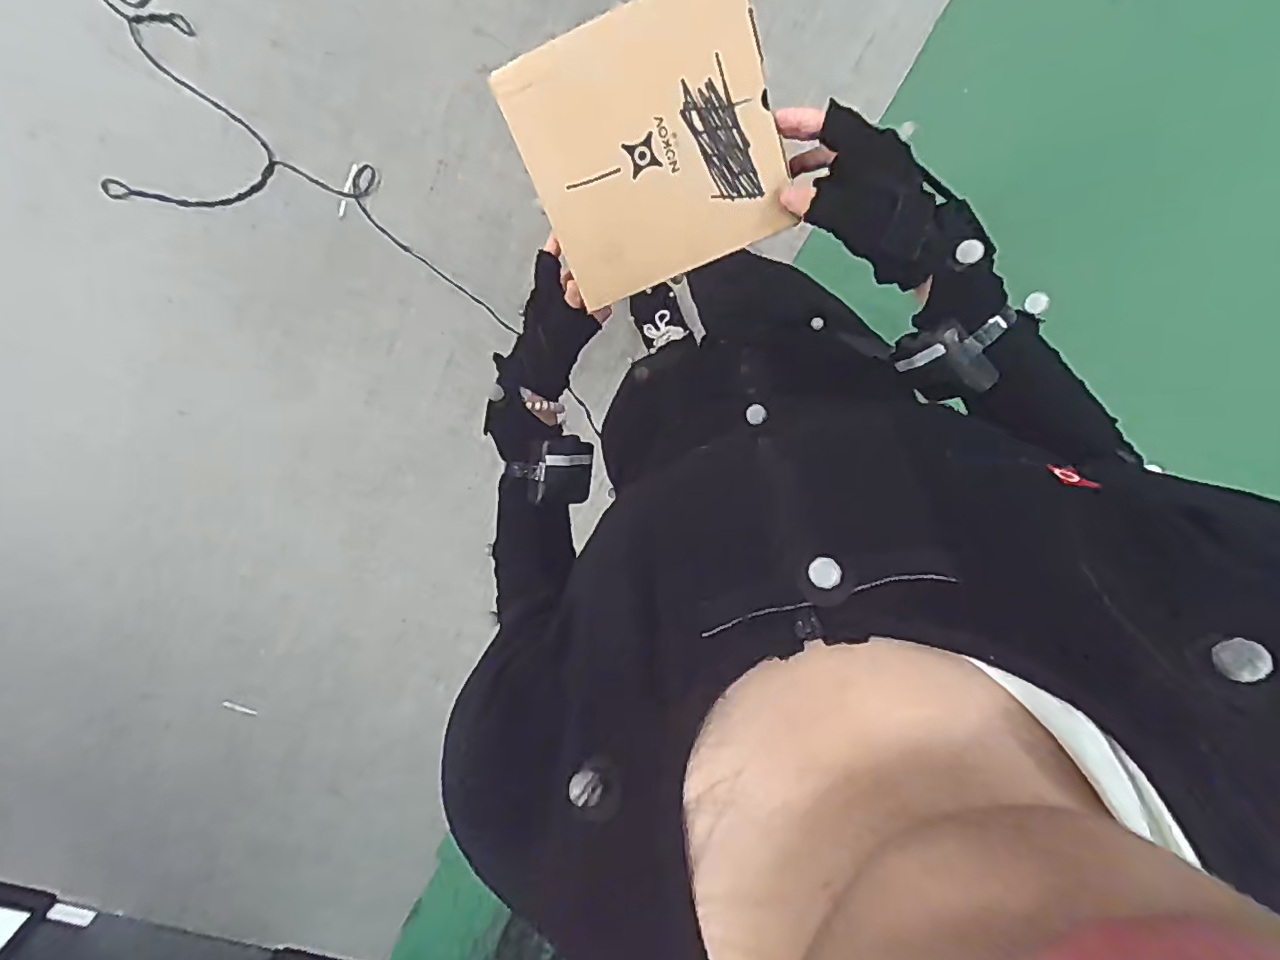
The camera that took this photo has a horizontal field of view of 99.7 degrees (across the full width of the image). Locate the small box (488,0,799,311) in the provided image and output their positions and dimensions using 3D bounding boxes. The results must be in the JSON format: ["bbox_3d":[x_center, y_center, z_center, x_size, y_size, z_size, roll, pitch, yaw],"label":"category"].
[{"bbox_3d":[0.004,-0.261,0.443,0.179,0.176,0.168,-21,115,7],"label":"small box"}]
